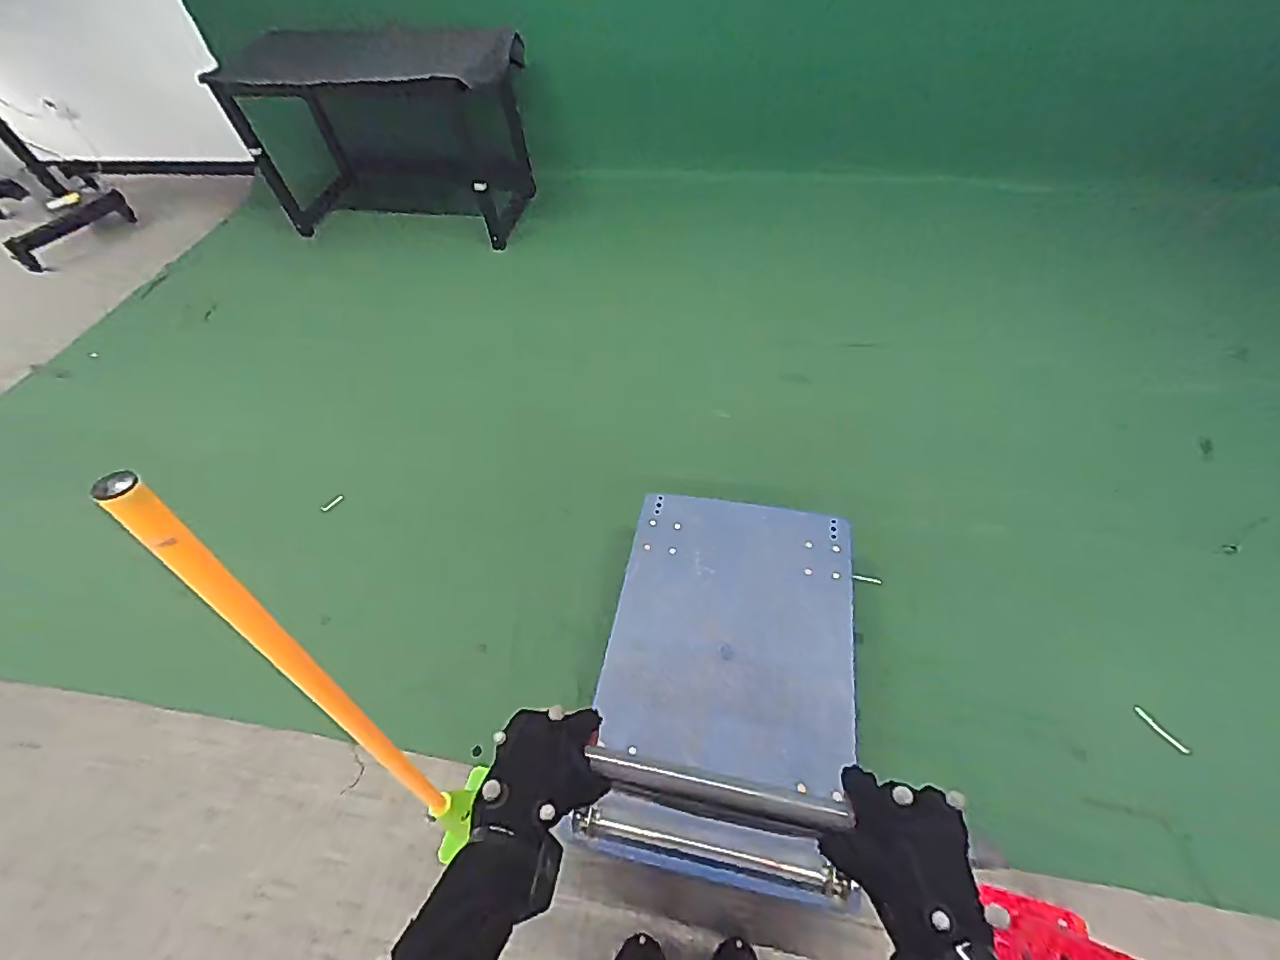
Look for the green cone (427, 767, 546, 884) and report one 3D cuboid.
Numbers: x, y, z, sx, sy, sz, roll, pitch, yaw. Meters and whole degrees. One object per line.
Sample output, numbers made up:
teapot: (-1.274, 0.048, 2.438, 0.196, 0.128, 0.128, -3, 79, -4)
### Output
green cone: (-0.349, 0.689, 1.120, 0.202, 0.368, 0.200, 9, 53, 13)
